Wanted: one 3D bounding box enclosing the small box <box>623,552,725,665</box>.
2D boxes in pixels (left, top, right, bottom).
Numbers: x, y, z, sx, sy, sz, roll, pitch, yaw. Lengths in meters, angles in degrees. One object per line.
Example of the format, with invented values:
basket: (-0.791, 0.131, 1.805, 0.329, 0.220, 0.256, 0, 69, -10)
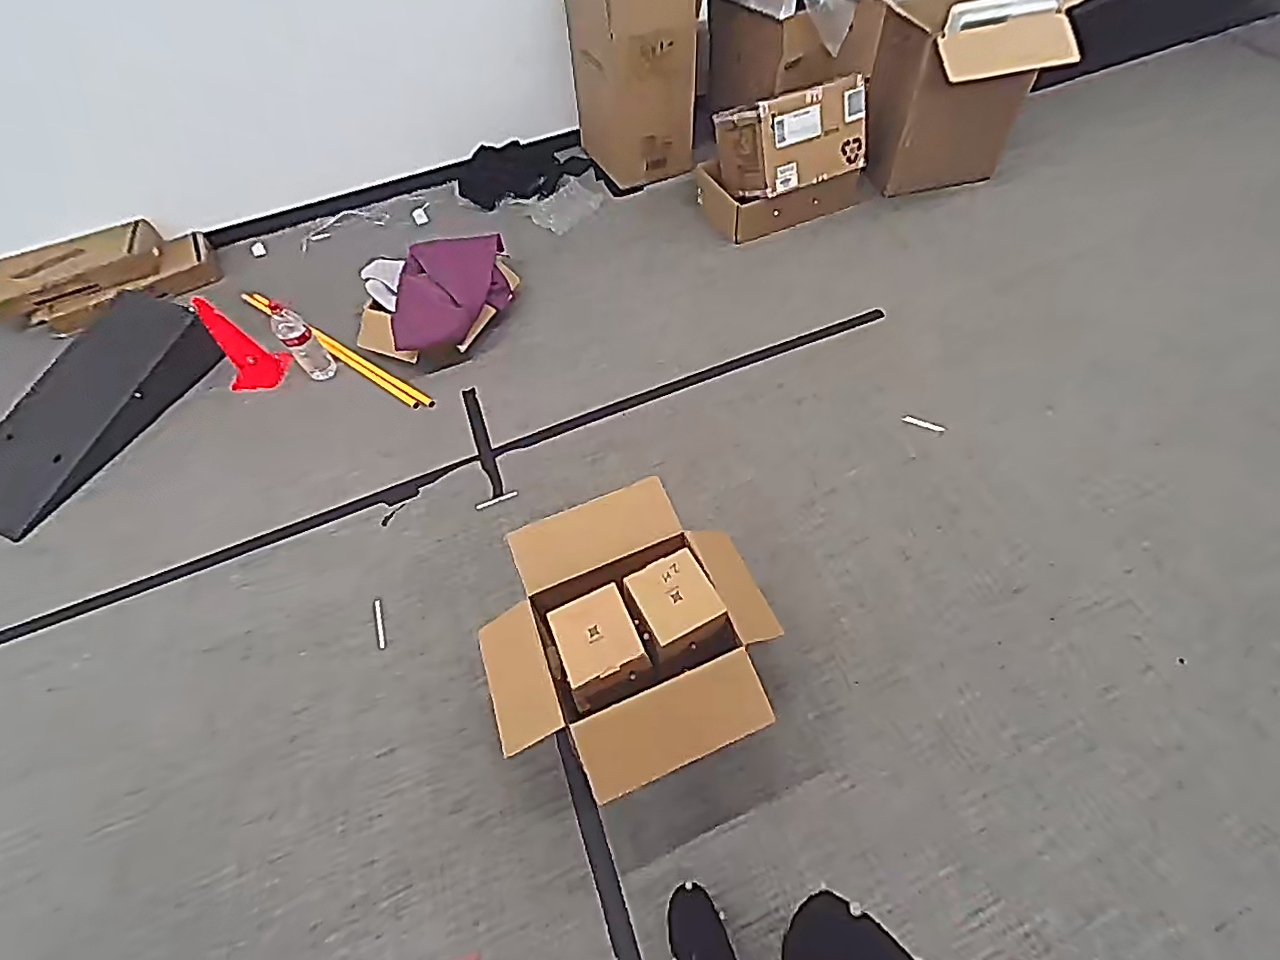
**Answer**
small box: (0.075, 0.301, 1.234, 0.168, 0.176, 0.179, -24, 58, -15)
